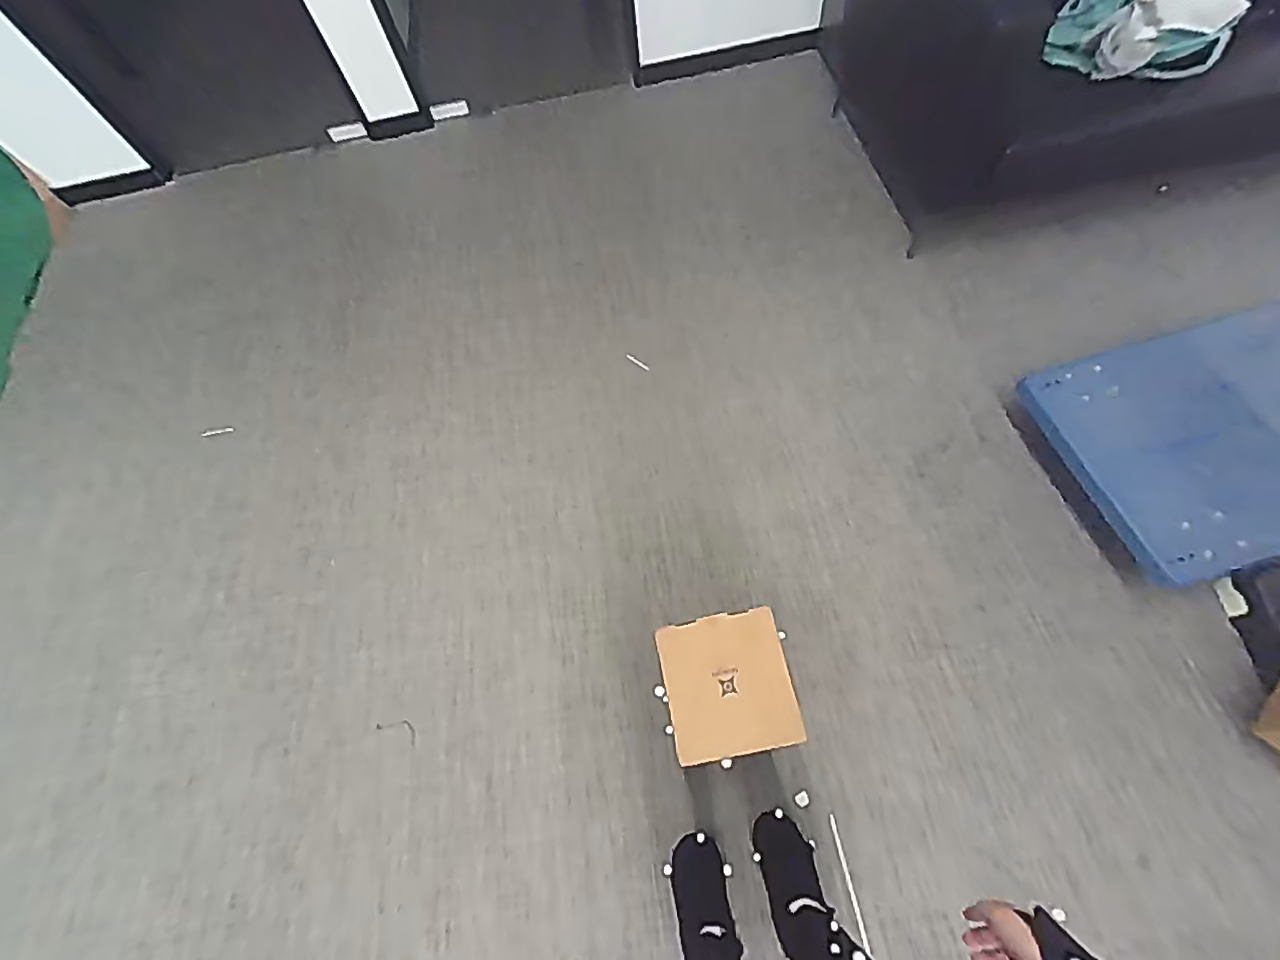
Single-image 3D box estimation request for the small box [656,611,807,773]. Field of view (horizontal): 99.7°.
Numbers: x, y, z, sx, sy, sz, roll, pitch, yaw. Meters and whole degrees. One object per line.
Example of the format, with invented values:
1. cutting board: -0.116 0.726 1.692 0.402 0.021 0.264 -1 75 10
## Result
1. small box: 0.124 0.303 0.776 0.168 0.176 0.179 -12 64 1
